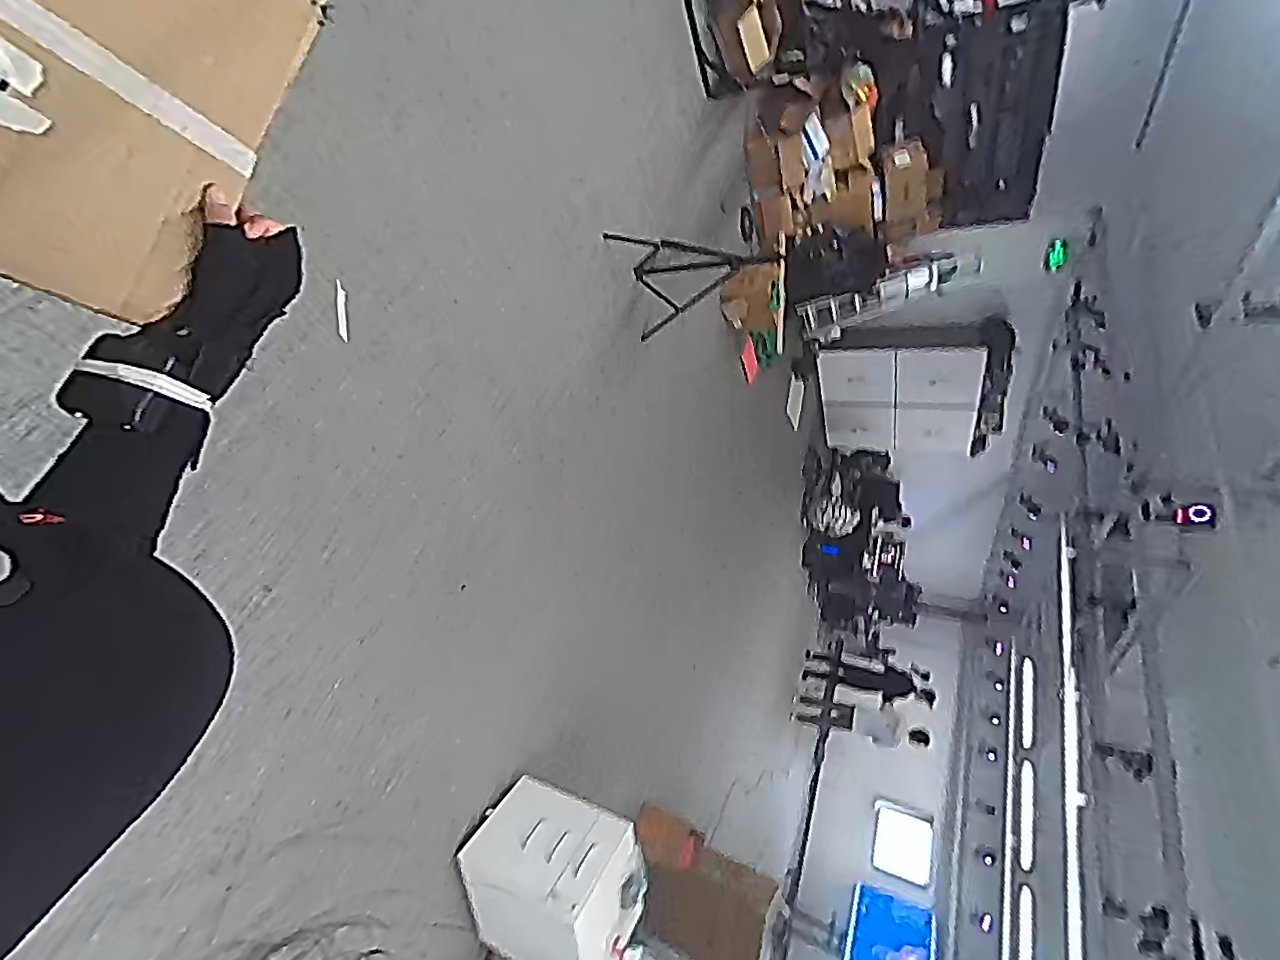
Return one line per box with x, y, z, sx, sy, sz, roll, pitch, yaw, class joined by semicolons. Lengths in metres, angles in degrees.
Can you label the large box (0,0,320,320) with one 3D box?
-0.538;-0.360;0.357;0.408;0.320;0.320;25;89;-61;large box
